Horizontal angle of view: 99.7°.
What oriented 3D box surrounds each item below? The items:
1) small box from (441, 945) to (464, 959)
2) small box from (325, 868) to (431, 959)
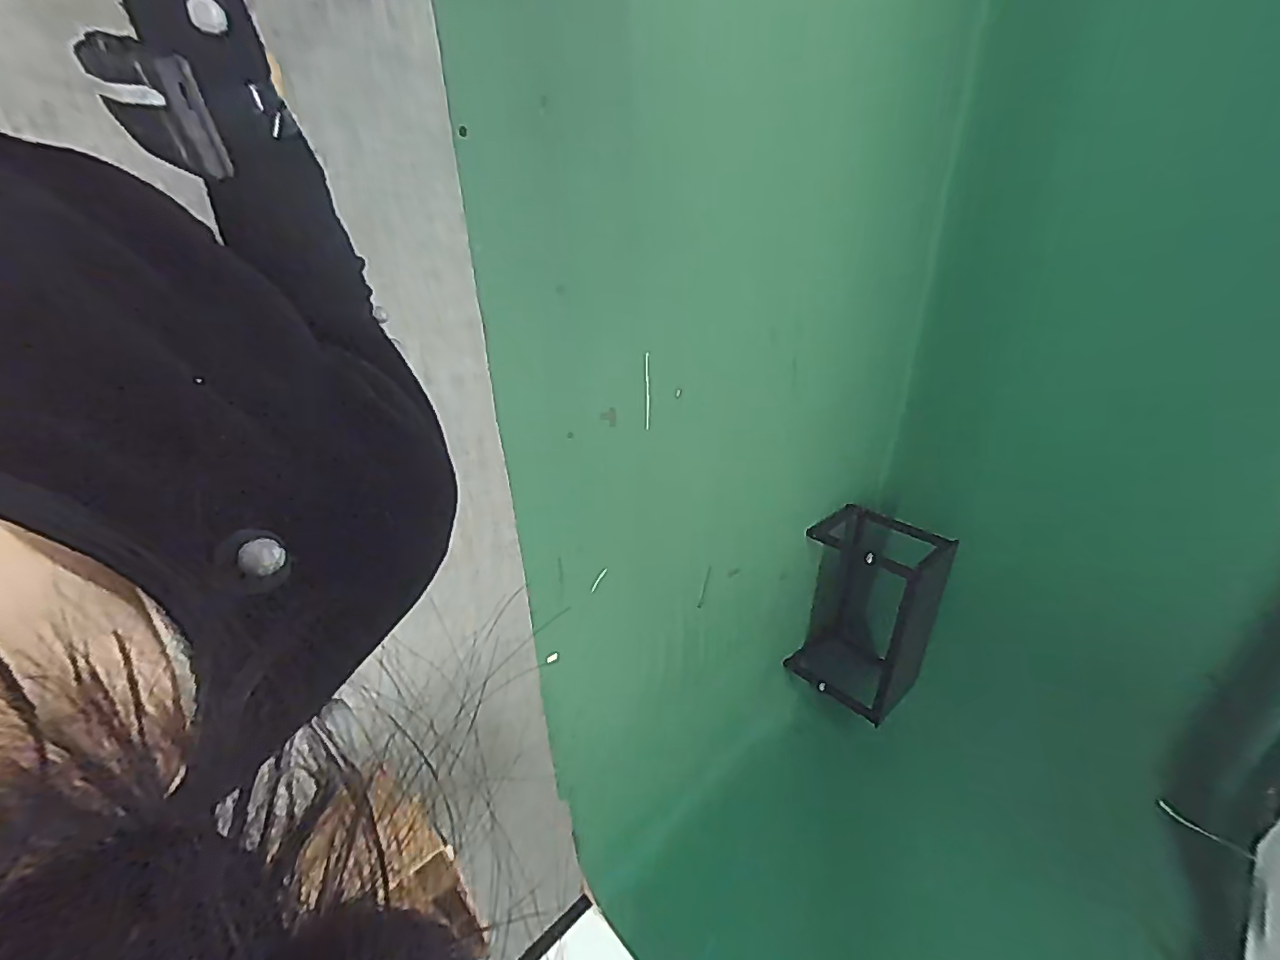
[{"bbox_3d":[-0.531,1.441,1.471,0.179,0.176,0.168,-31,128,-34],"label":"small box"},{"bbox_3d":[-0.694,1.175,1.426,0.168,0.176,0.179,-37,132,-27],"label":"small box"}]
